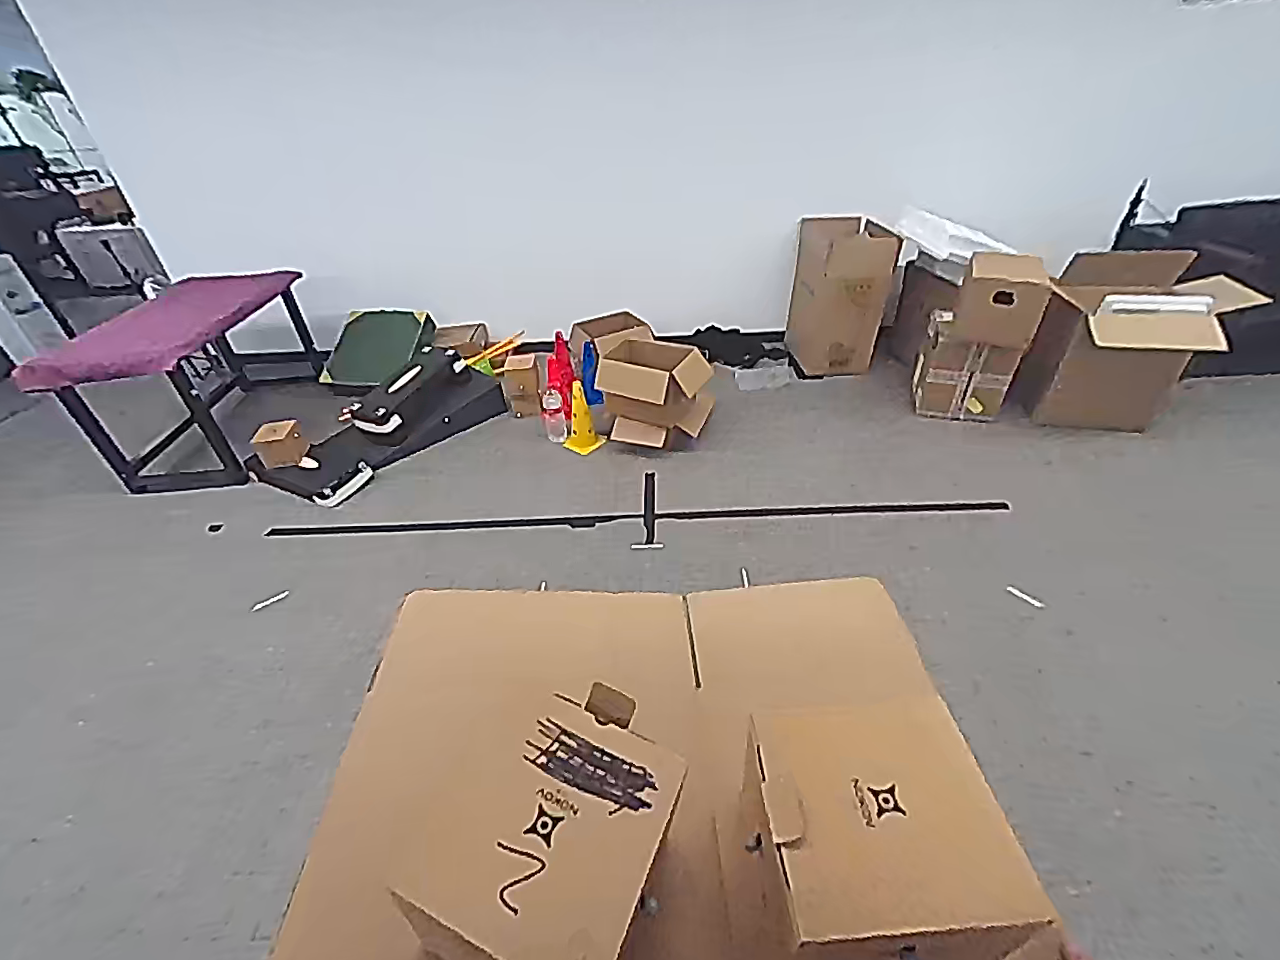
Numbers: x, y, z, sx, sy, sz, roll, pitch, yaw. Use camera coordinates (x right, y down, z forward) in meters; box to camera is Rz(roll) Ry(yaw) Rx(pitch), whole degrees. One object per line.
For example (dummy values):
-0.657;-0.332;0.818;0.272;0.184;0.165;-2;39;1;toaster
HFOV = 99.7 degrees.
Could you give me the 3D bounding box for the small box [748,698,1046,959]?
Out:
0.201;0.322;0.488;0.179;0.176;0.168;-6;38;1;small box
